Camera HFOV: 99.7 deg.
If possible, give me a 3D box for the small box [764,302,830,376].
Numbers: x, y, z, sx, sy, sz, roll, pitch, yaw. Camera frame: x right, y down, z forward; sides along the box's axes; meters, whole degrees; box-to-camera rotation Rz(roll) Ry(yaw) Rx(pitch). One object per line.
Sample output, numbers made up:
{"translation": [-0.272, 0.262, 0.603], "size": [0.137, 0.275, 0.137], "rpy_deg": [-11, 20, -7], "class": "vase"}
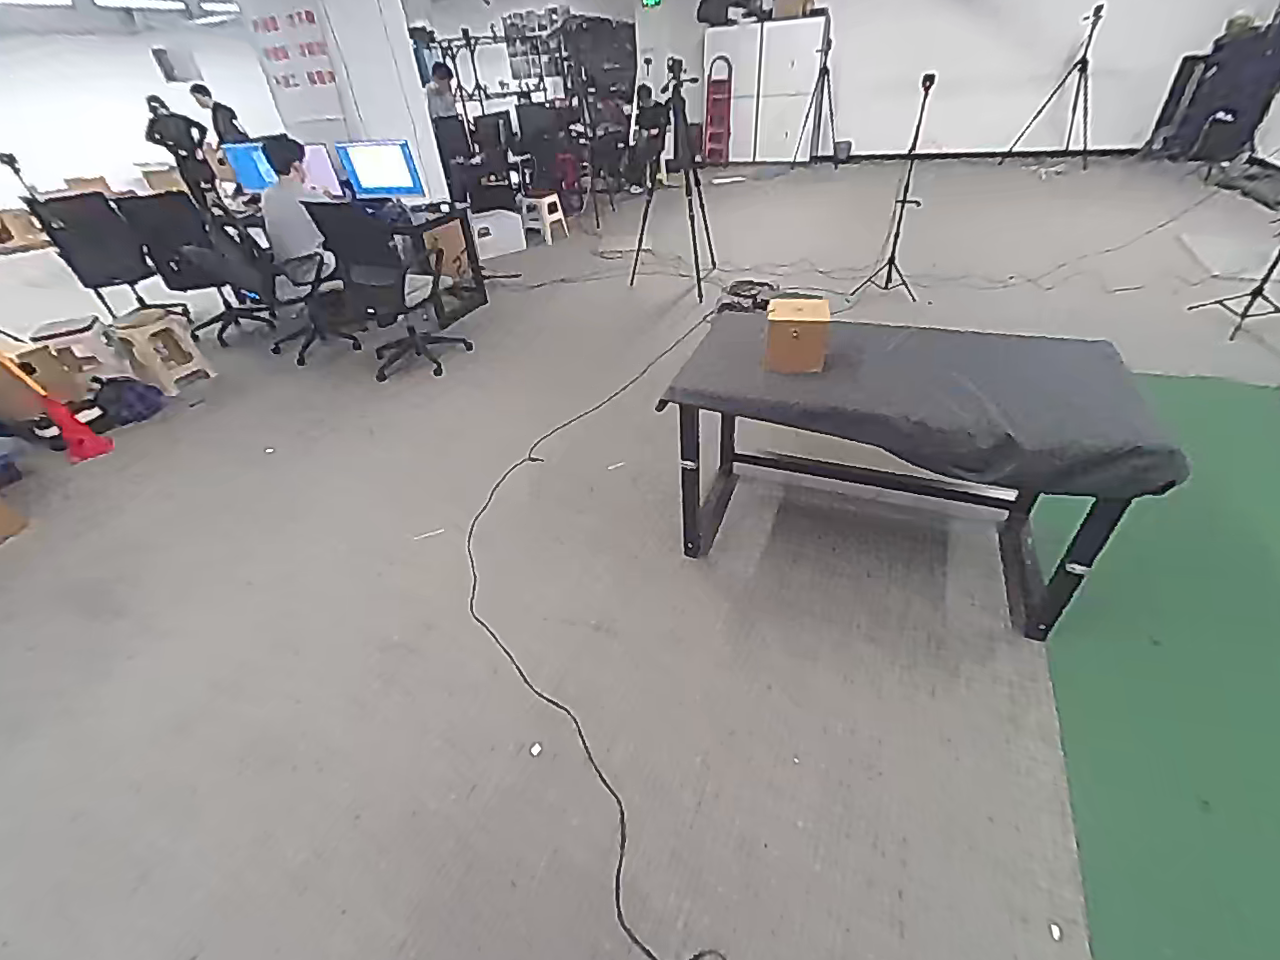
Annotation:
{"translation": [0.476, -0.429, 1.645], "size": [0.179, 0.176, 0.168], "rpy_deg": [6, 40, 12], "class": "small box"}
